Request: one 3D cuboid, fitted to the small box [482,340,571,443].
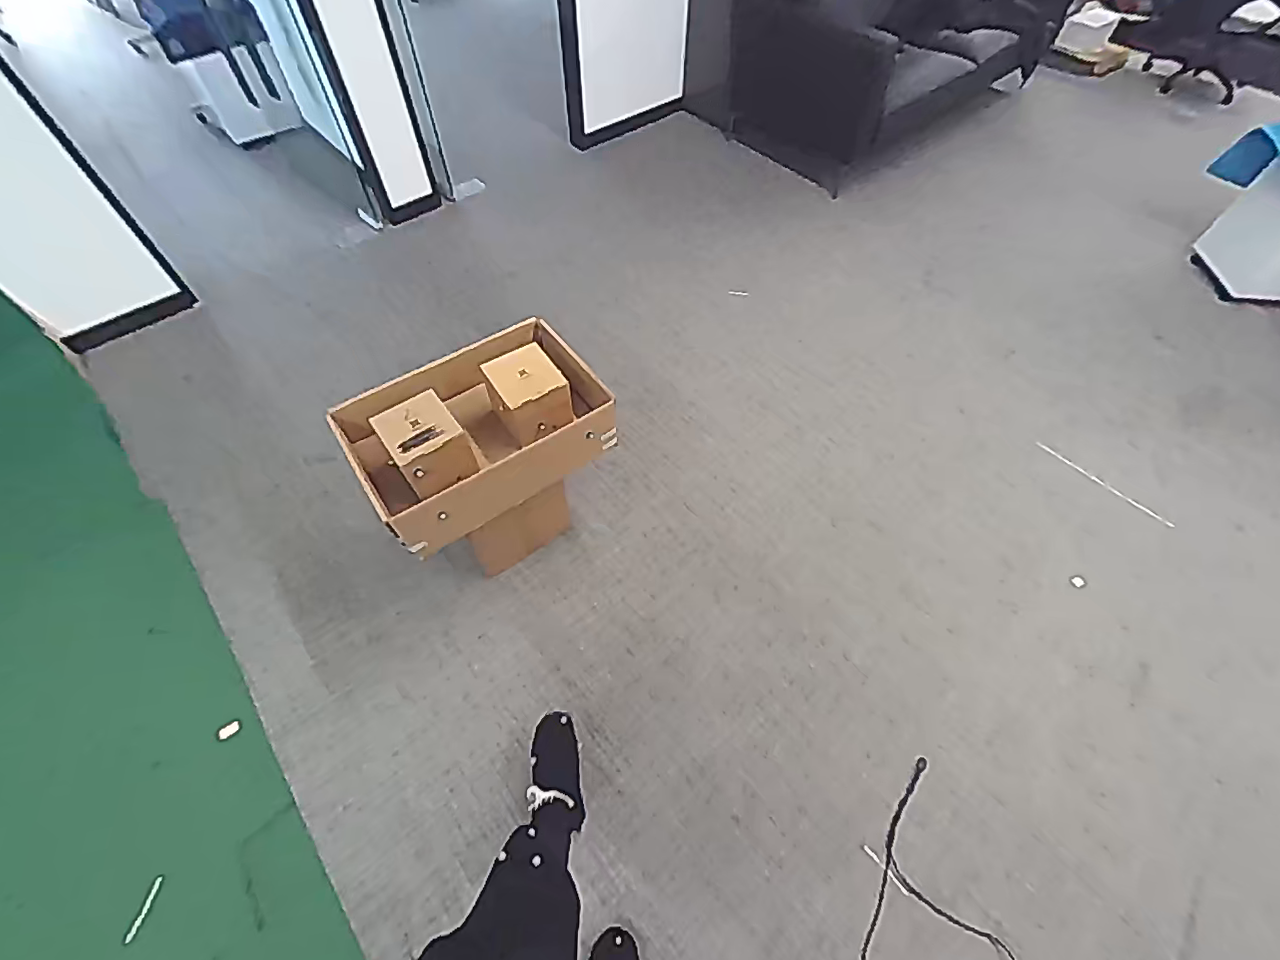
[{"bbox_3d":[-0.297,-0.231,1.435,0.168,0.176,0.179,-29,63,-19],"label":"small box"}]
